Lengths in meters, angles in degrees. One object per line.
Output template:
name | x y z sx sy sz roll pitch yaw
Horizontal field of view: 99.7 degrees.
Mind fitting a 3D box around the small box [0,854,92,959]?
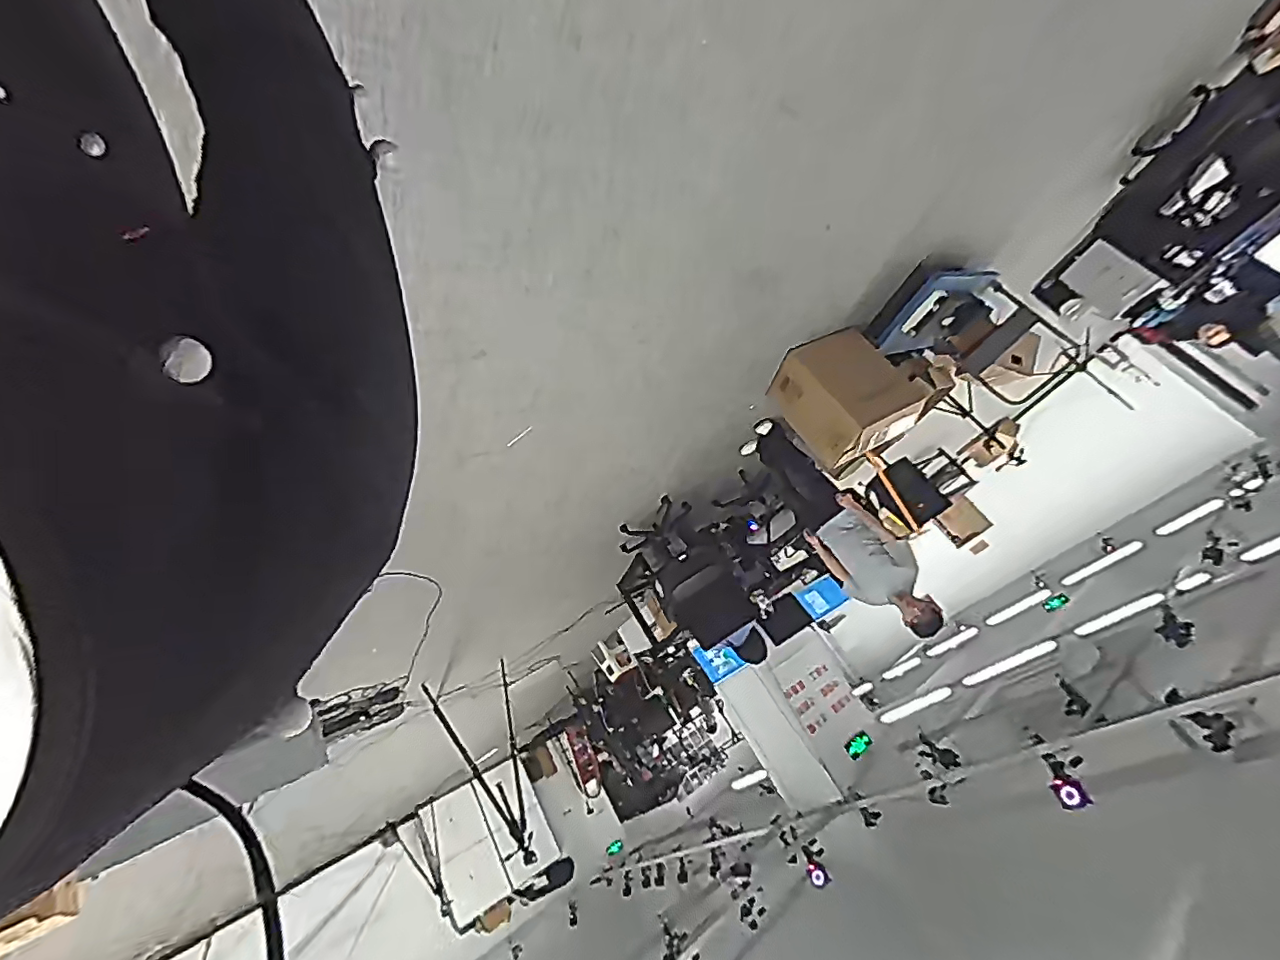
small box | -1.548 1.092 1.378 0.168 0.176 0.179 -16 151 -36
